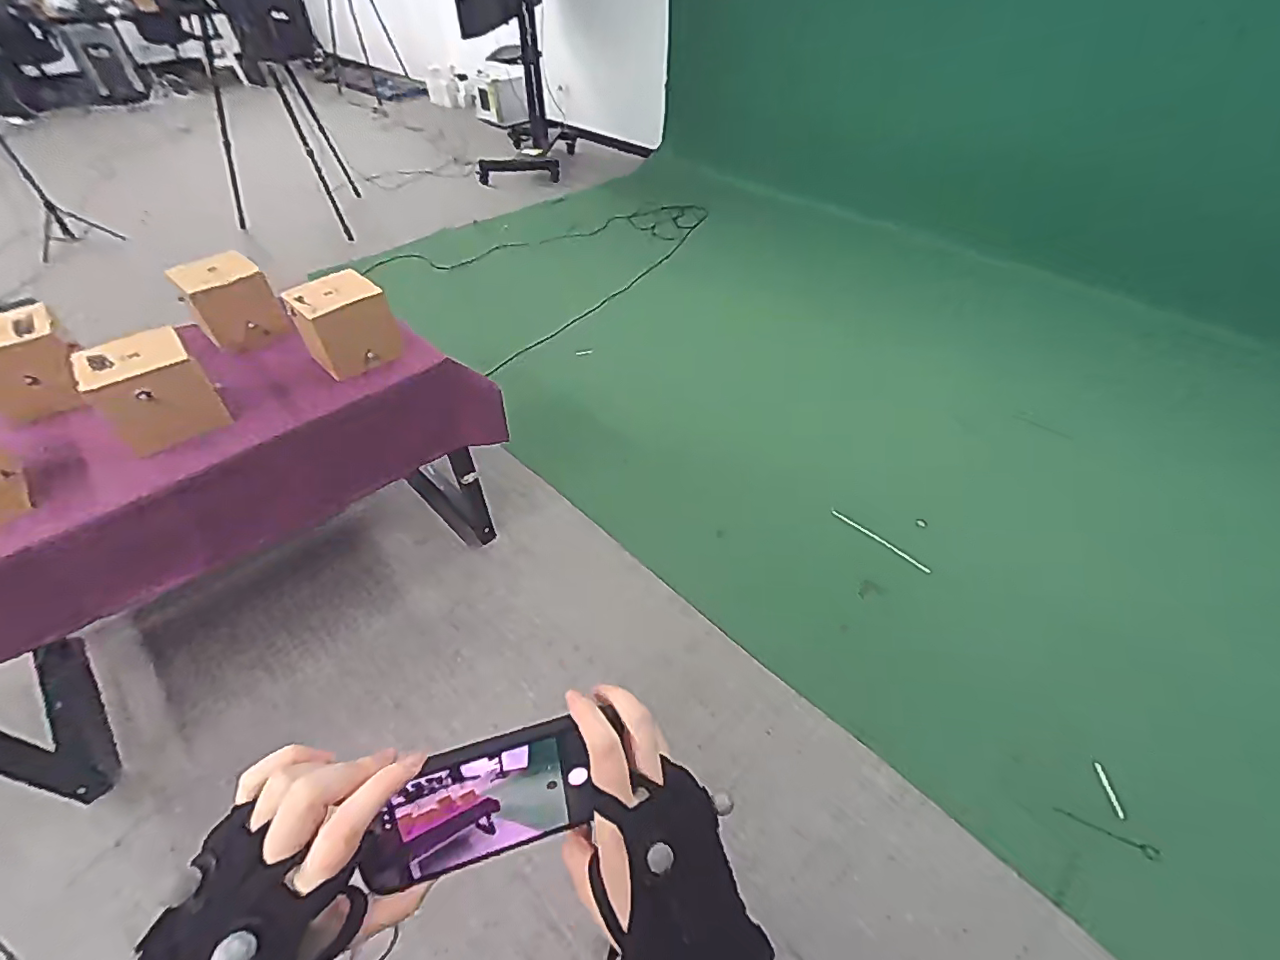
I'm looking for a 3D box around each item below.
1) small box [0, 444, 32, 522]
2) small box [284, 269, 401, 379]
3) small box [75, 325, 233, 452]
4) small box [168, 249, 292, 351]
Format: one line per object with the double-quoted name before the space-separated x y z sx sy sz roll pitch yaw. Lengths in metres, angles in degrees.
"small box" -1.234 -0.002 0.936 0.179 0.176 0.168 -33 55 -29
"small box" -0.697 -0.372 1.291 0.168 0.176 0.179 36 56 29
"small box" -0.992 -0.187 1.113 0.179 0.176 0.168 -31 54 -28
"small box" -1.025 -0.452 1.363 0.179 0.176 0.168 35 56 28
